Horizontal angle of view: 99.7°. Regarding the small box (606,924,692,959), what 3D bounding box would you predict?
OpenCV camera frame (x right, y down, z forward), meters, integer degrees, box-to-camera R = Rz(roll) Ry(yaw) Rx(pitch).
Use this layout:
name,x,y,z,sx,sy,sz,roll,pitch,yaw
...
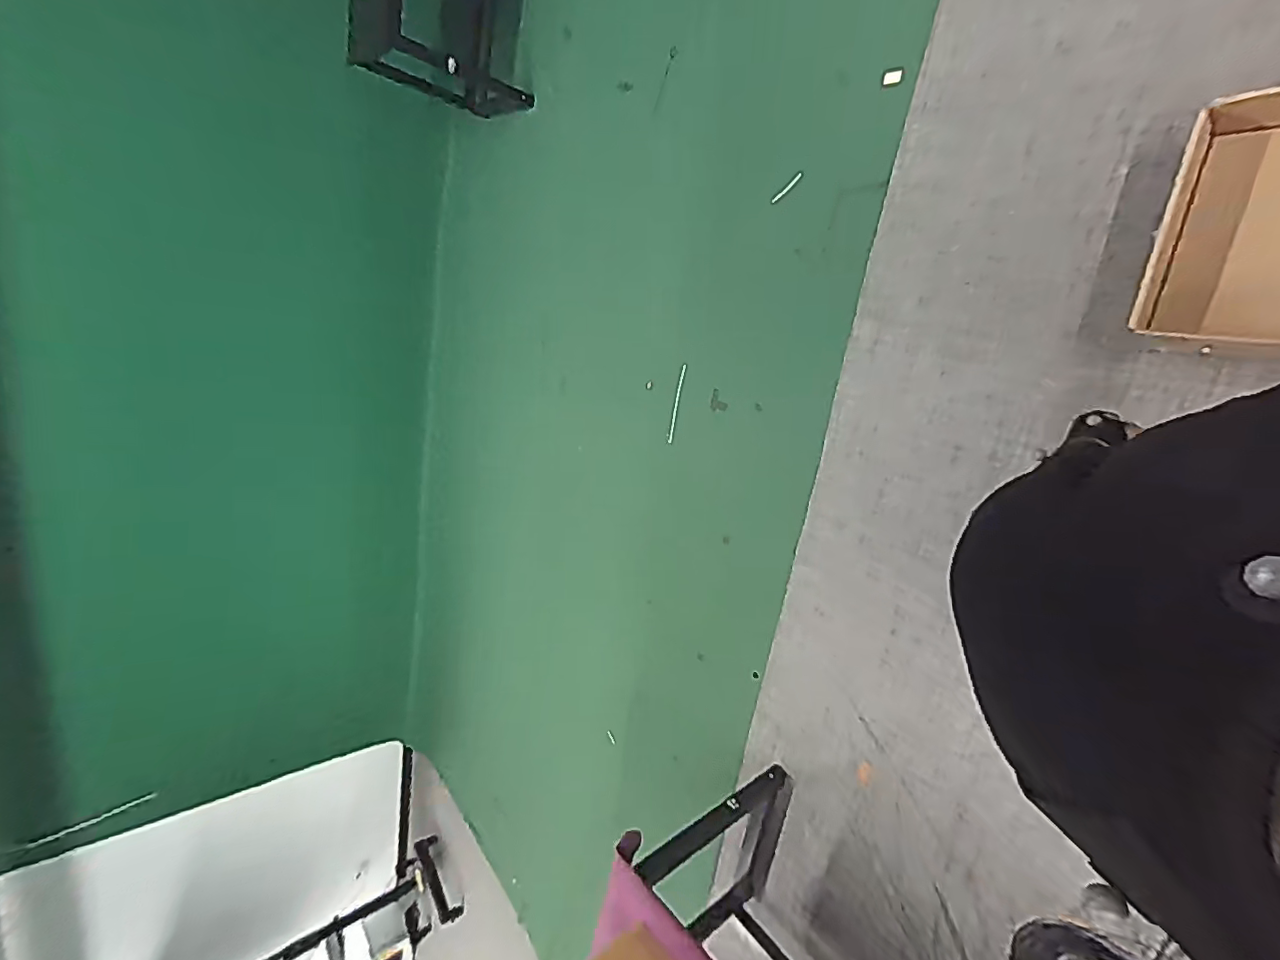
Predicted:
name,x,y,z,sx,sy,sz,roll,pitch,yaw
small box,0.026,1.171,1.234,0.179,0.176,0.168,23,110,45
